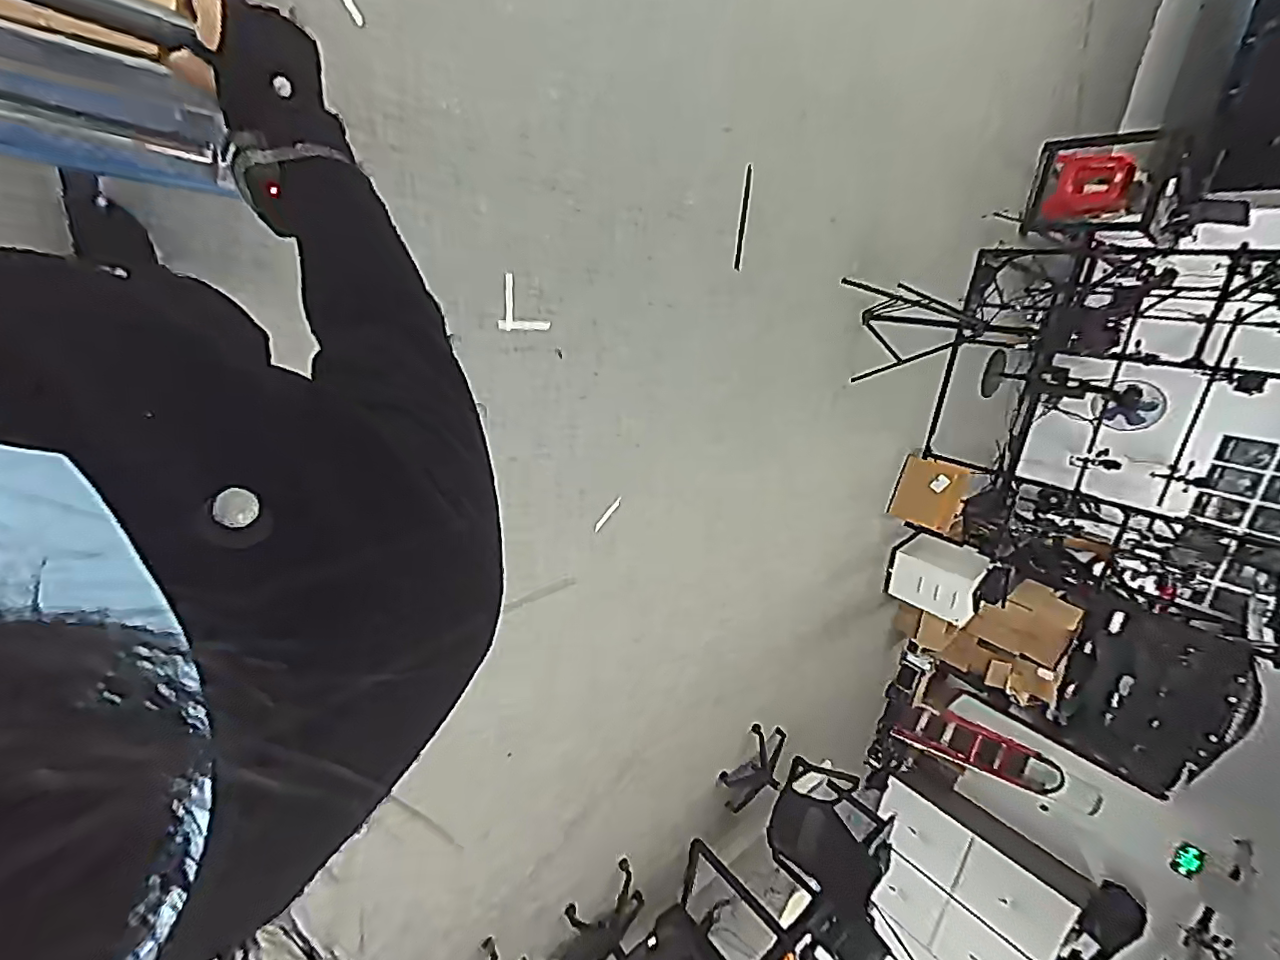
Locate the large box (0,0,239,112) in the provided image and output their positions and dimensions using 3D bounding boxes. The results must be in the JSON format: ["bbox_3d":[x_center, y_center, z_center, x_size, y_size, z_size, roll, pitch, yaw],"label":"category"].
[{"bbox_3d":[-0.781,-0.701,0.658,0.408,0.320,0.320,-13,117,-41],"label":"large box"}]
